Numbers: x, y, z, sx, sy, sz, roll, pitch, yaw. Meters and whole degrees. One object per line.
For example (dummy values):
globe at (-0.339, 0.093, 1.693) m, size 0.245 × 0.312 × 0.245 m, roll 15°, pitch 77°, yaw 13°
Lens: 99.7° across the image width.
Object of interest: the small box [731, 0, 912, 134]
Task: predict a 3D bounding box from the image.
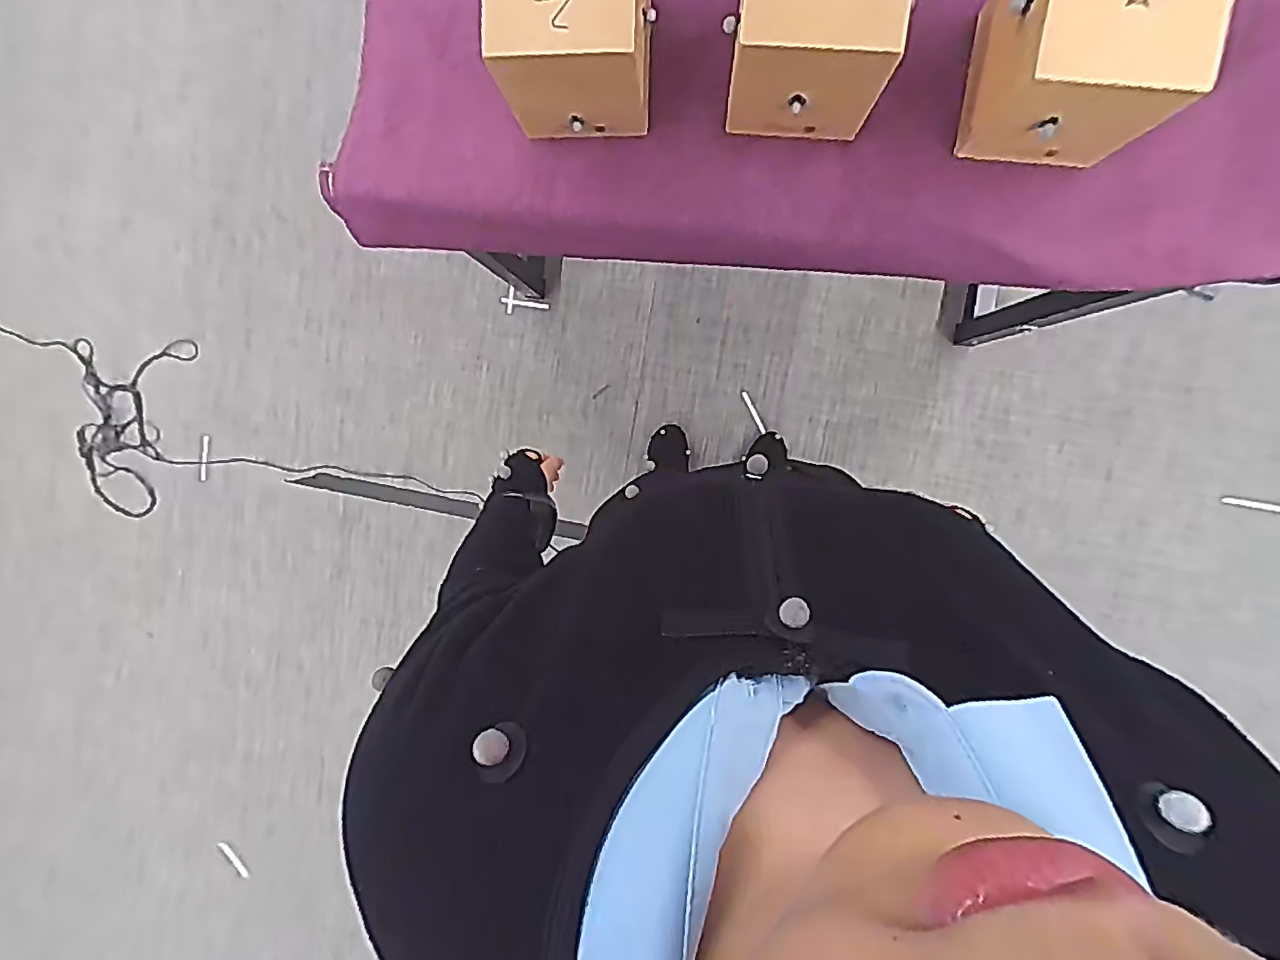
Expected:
small box at (0.199, -0.528, 0.614) m, size 0.168 × 0.176 × 0.179 m, roll 7°, pitch 95°, yaw 3°

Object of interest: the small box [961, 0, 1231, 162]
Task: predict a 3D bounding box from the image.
small box at (0.486, -0.479, 0.595) m, size 0.168 × 0.176 × 0.179 m, roll 8°, pitch 97°, yaw 5°
